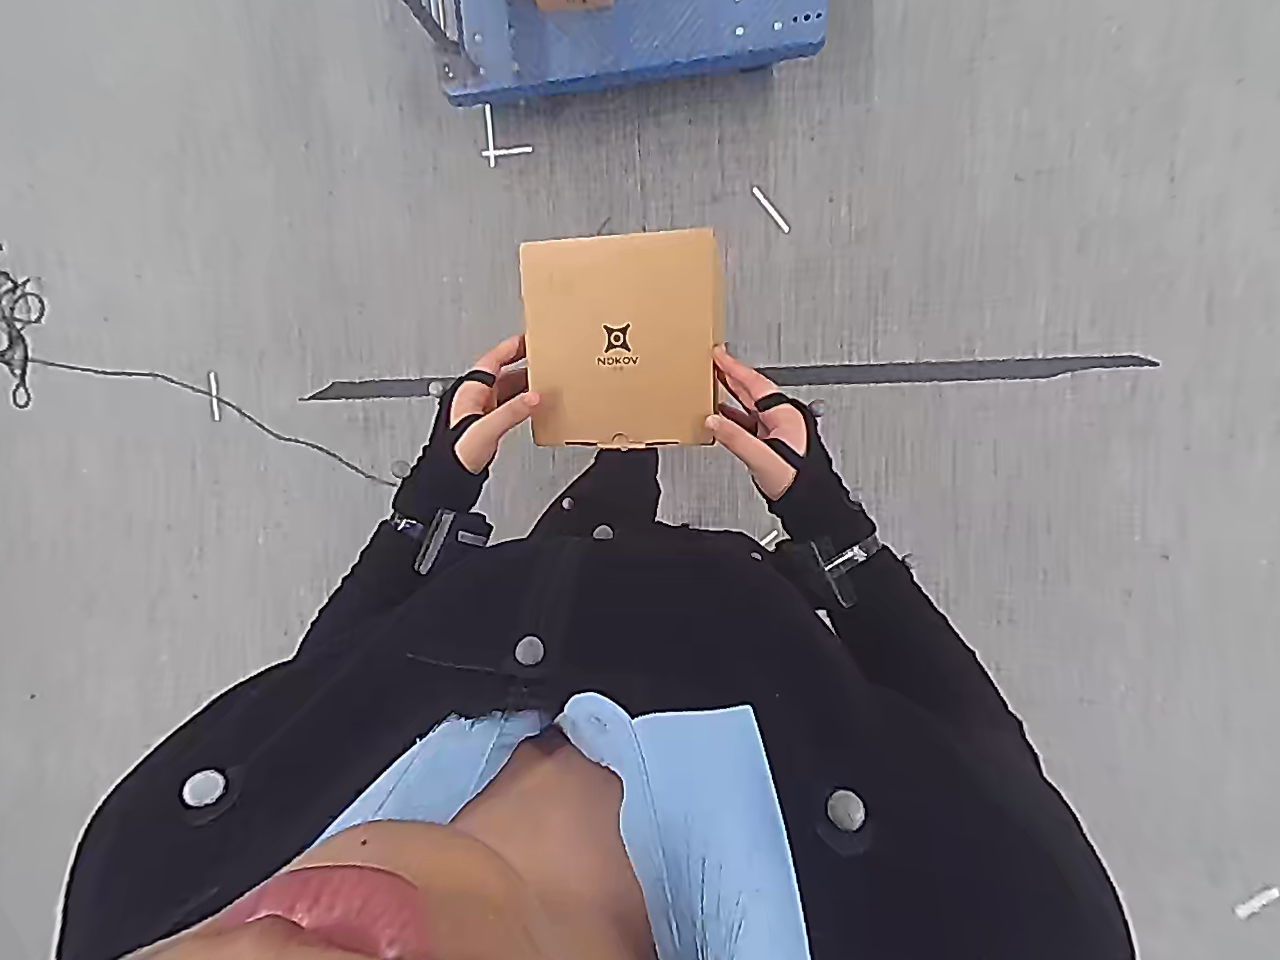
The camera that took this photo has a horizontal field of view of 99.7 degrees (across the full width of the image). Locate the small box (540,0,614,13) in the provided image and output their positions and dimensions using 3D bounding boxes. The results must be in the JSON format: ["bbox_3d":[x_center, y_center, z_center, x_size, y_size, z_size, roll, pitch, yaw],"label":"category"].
[{"bbox_3d":[-0.144,-1.104,1.094,0.168,0.176,0.179,1,96,6],"label":"small box"}]
